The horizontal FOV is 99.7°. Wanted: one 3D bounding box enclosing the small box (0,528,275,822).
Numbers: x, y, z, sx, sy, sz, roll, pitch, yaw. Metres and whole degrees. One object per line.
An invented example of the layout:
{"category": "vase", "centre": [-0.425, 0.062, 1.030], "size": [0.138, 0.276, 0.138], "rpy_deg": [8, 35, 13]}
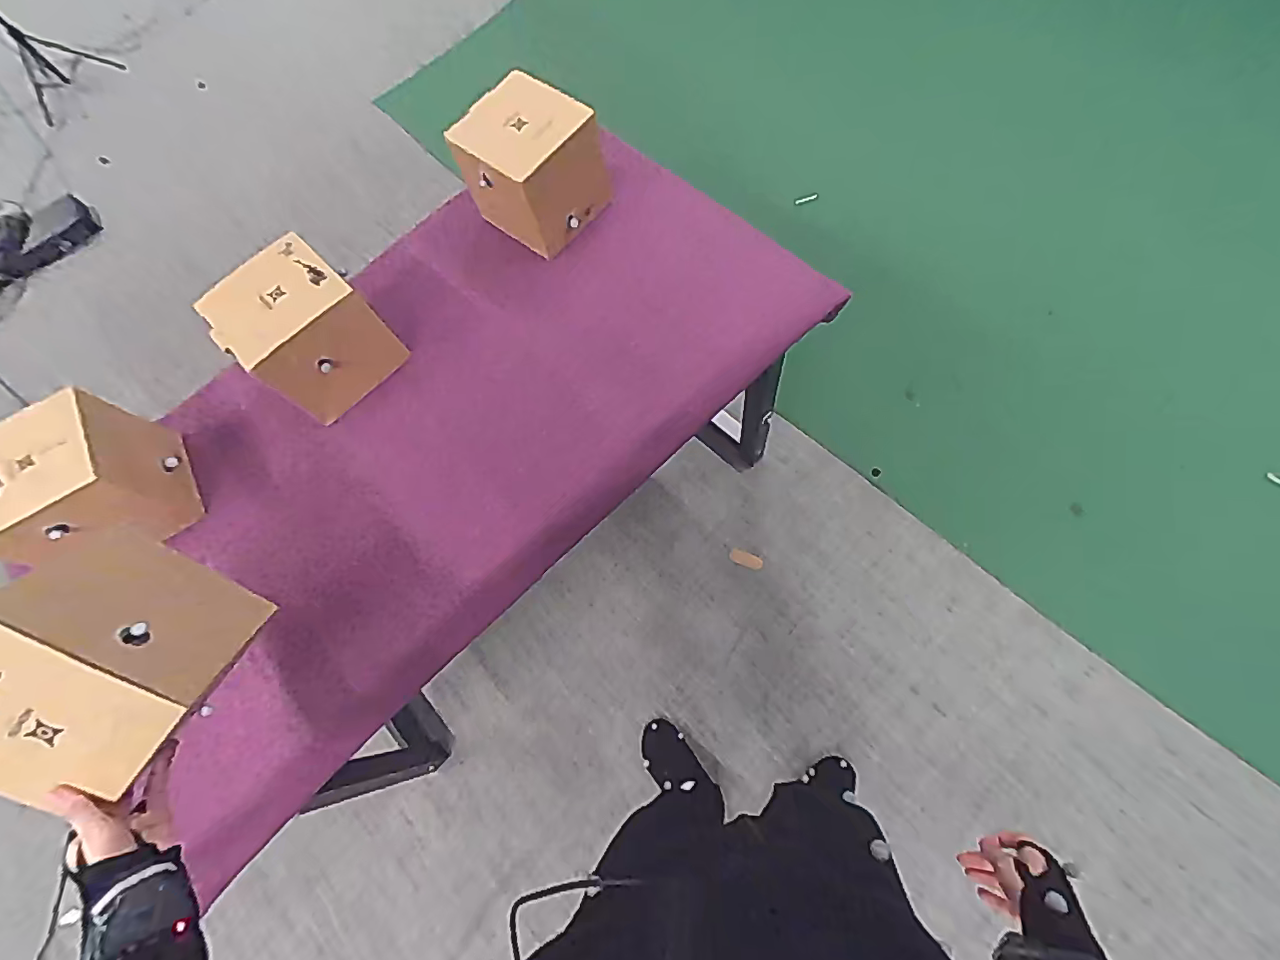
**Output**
{"category": "small box", "centre": [-0.508, 0.175, 0.523], "size": [0.179, 0.176, 0.168], "rpy_deg": [40, 100, -19]}

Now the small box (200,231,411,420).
{"category": "small box", "centre": [-0.490, -0.223, 0.816], "size": [0.179, 0.176, 0.168], "rpy_deg": [-44, 72, -9]}

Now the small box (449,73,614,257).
{"category": "small box", "centre": [-0.166, -0.503, 0.883], "size": [0.179, 0.176, 0.168], "rpy_deg": [39, 80, 17]}

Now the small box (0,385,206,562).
{"category": "small box", "centre": [-0.777, 0.006, 0.763], "size": [0.179, 0.176, 0.168], "rpy_deg": [-31, 70, -7]}
